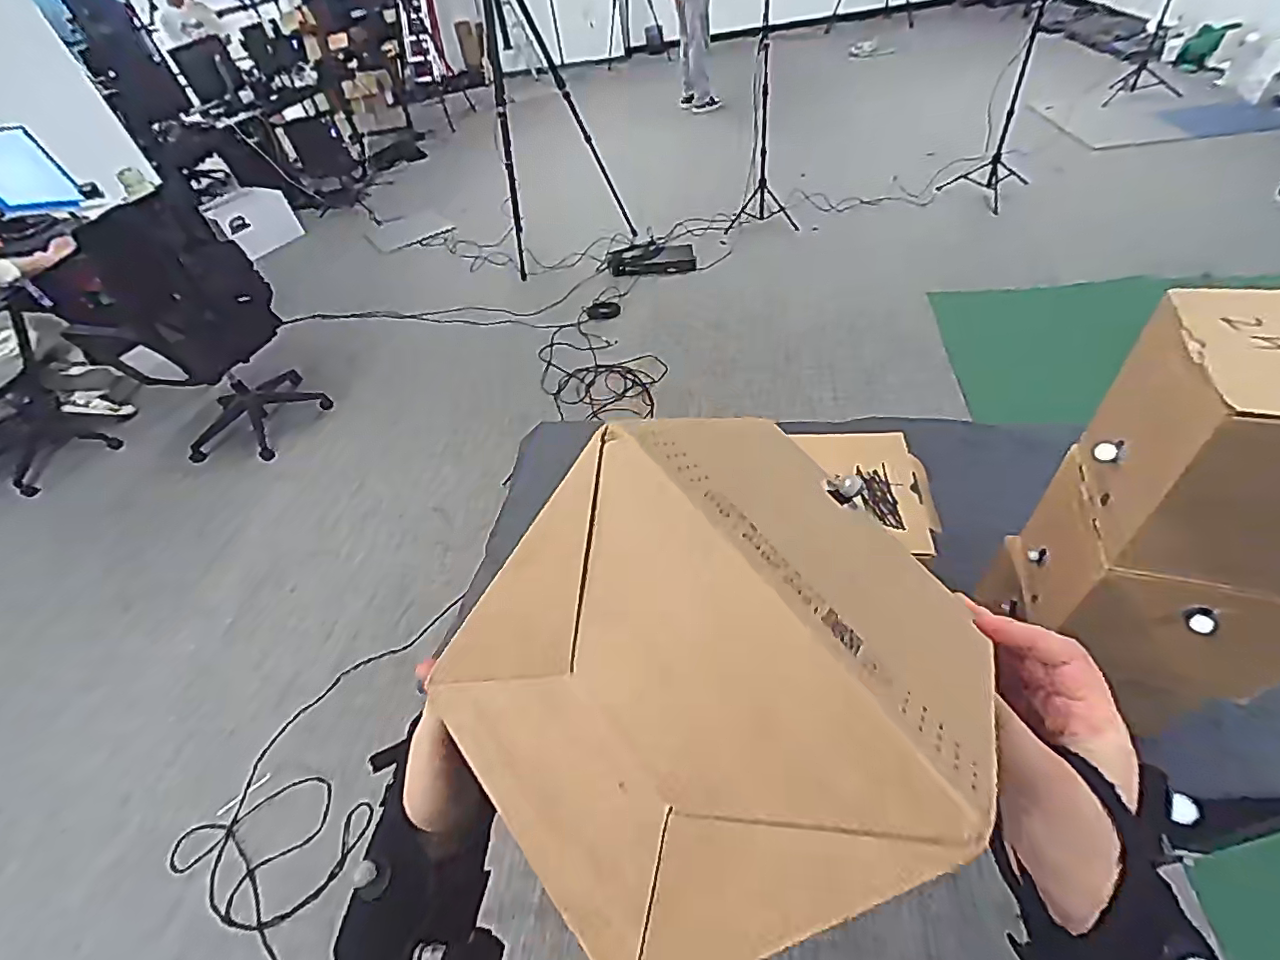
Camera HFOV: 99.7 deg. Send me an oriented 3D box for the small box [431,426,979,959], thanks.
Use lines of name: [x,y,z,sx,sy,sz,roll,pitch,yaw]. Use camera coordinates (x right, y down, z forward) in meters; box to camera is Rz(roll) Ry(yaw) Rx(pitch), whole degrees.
small box: [0.029,0.088,0.269,0.168,0.179,0.176,48,28,18]

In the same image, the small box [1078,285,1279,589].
small box: [0.487,-0.030,0.420,0.179,0.176,0.168,9,48,21]

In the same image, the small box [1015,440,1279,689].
small box: [0.507,0.085,0.536,0.179,0.176,0.168,8,49,20]

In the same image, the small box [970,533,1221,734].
small box: [0.532,0.185,0.662,0.168,0.176,0.179,0,47,12]

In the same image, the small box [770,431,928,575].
small box: [0.198,0.062,0.613,0.179,0.176,0.168,1,47,12]
